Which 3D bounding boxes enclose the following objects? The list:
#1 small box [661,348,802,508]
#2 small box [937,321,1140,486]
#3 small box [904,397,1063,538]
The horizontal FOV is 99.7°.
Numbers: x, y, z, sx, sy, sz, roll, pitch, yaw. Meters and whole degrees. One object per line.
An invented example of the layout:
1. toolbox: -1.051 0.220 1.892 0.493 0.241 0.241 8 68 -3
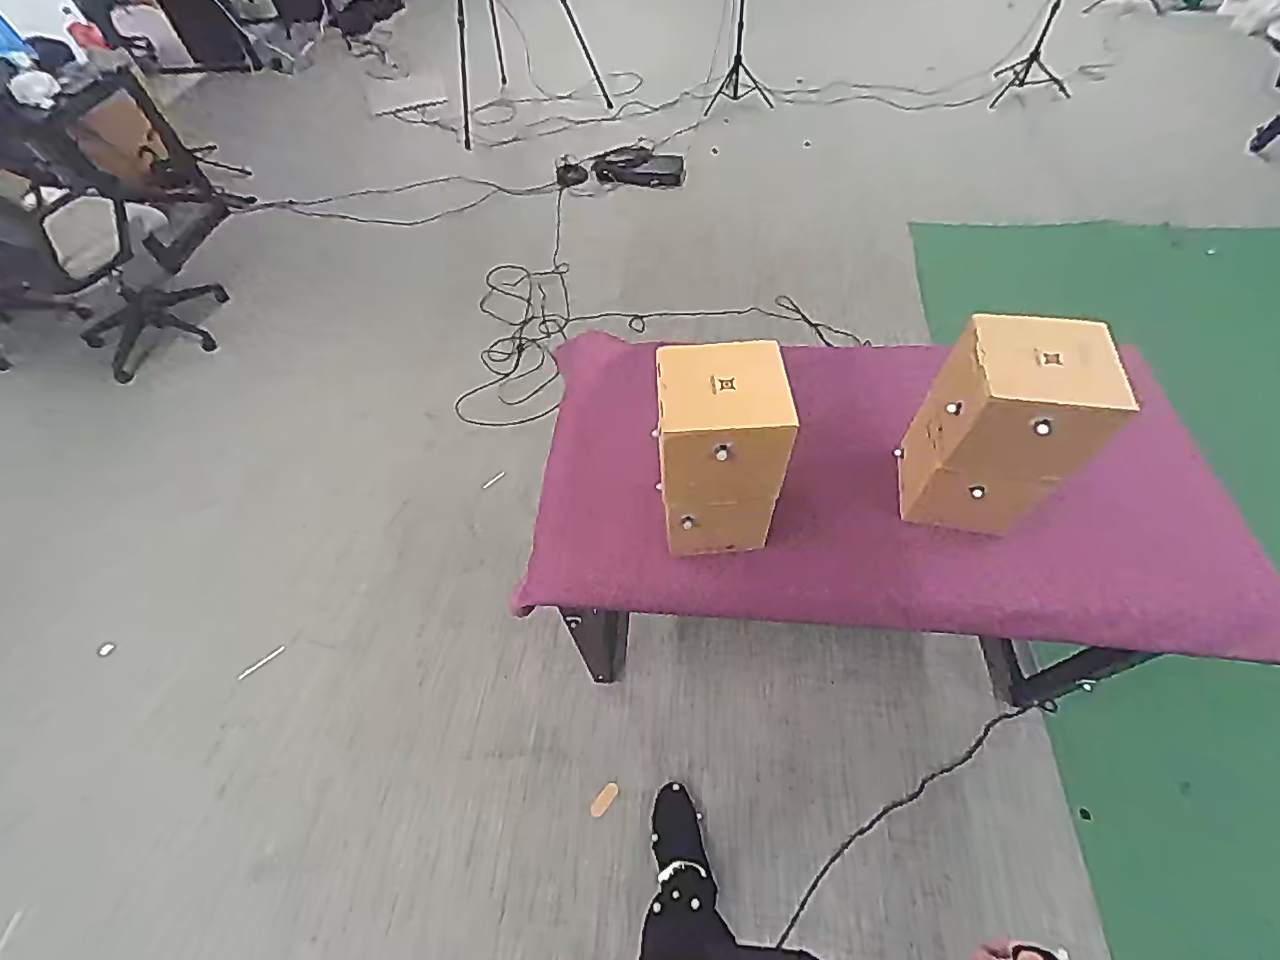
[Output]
1. small box: 0.121 -0.071 0.794 0.179 0.176 0.168 -3 54 2
2. small box: 0.553 -0.107 0.787 0.179 0.176 0.168 8 58 9
3. small box: 0.566 -0.018 0.922 0.179 0.176 0.168 9 57 9
